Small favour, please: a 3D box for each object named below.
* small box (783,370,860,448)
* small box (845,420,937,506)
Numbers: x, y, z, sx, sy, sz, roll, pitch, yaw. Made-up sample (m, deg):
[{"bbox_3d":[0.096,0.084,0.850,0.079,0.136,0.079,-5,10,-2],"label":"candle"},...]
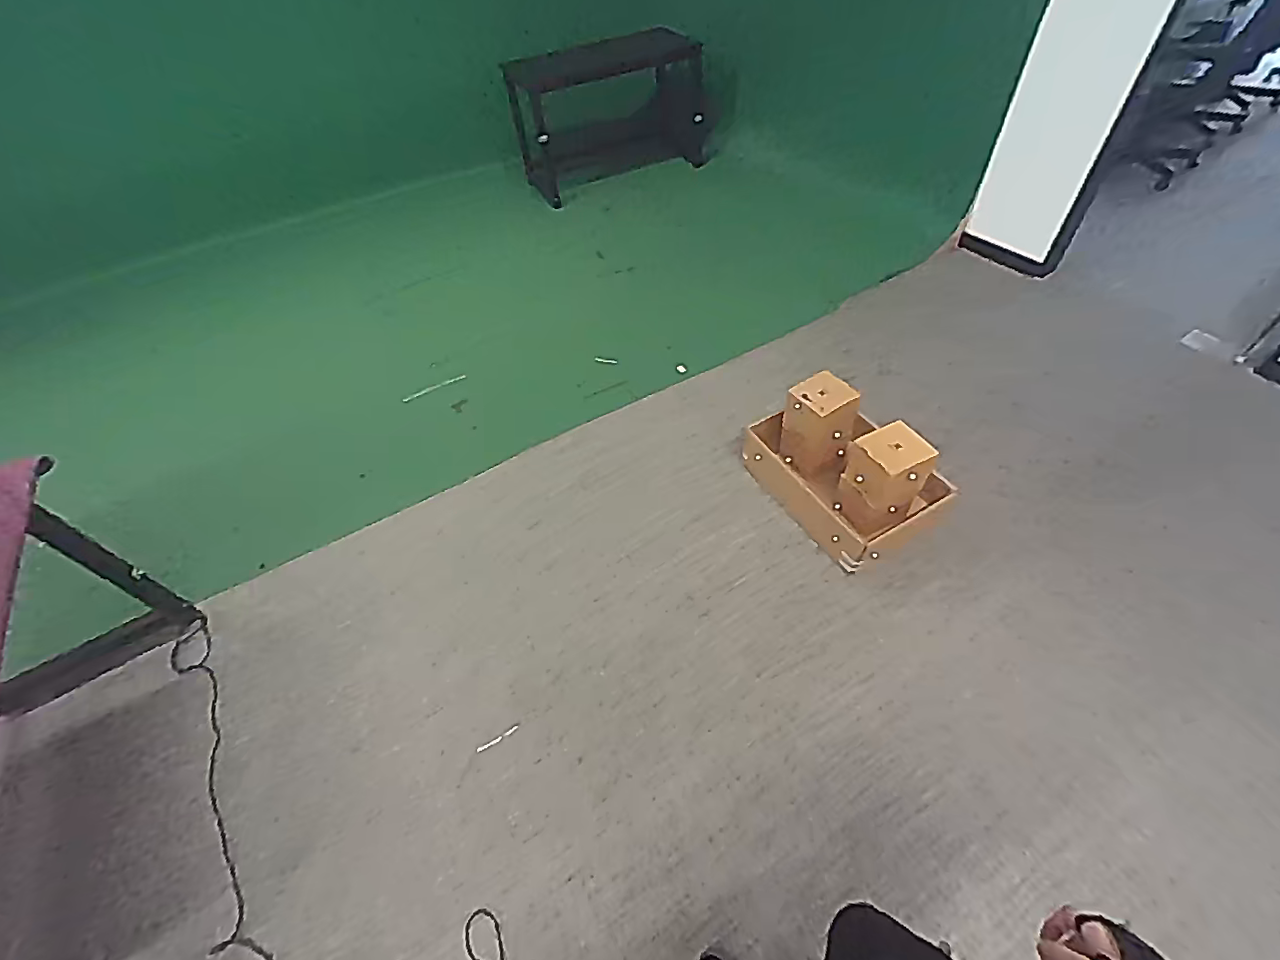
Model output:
[{"bbox_3d":[0.611,-0.241,1.846,0.179,0.176,0.168,-28,52,-17],"label":"small box"},{"bbox_3d":[0.767,-0.051,1.674,0.179,0.176,0.168,-23,52,-12],"label":"small box"}]
